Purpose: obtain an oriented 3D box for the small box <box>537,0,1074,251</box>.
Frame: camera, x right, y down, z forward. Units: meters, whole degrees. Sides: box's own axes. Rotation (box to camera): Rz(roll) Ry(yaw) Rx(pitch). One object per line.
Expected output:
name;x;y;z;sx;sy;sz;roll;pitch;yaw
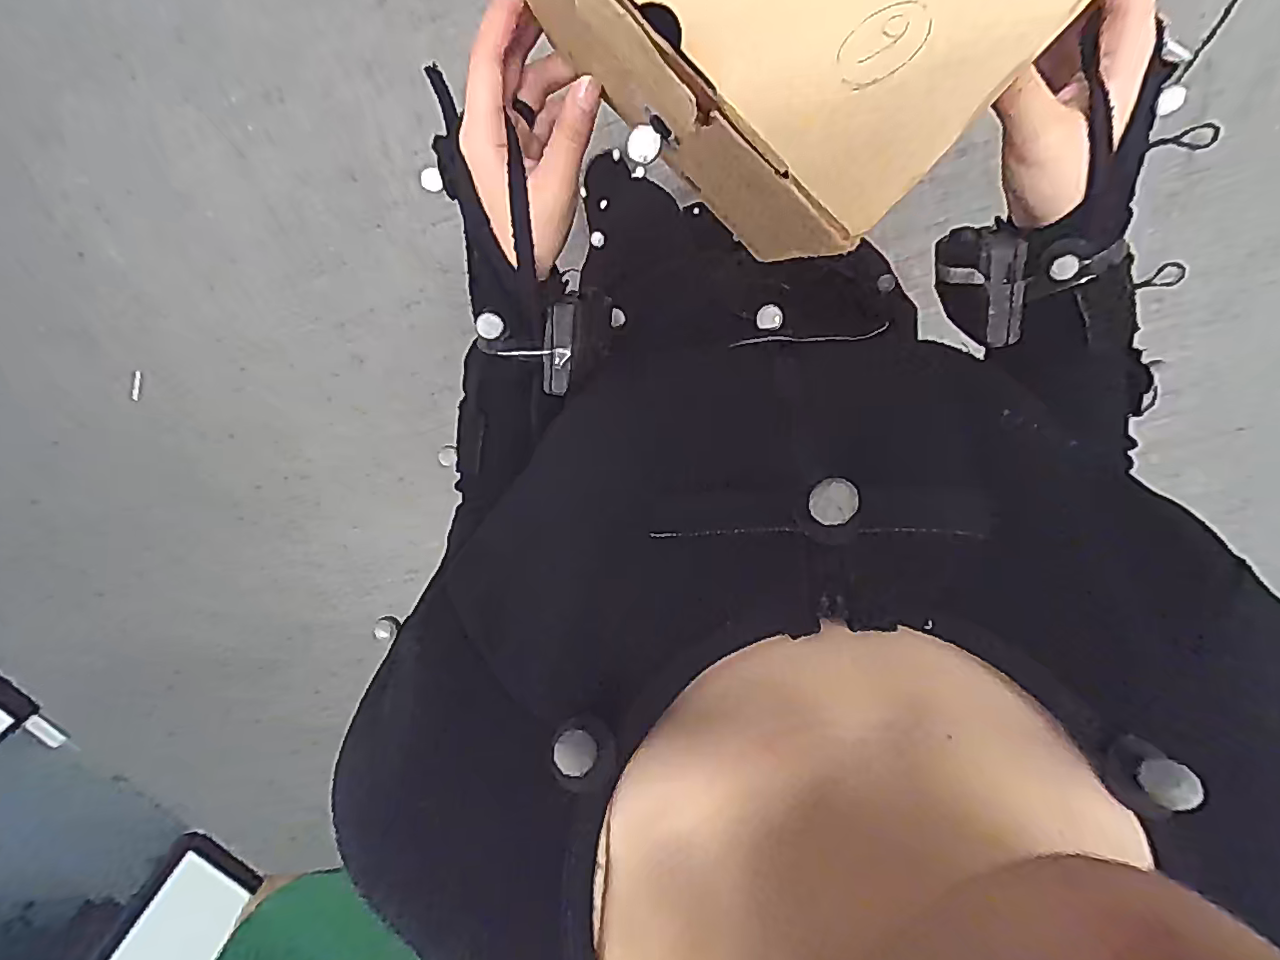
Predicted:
small box;0.066;-0.213;0.214;0.168;0.176;0.179;40;108;-12
